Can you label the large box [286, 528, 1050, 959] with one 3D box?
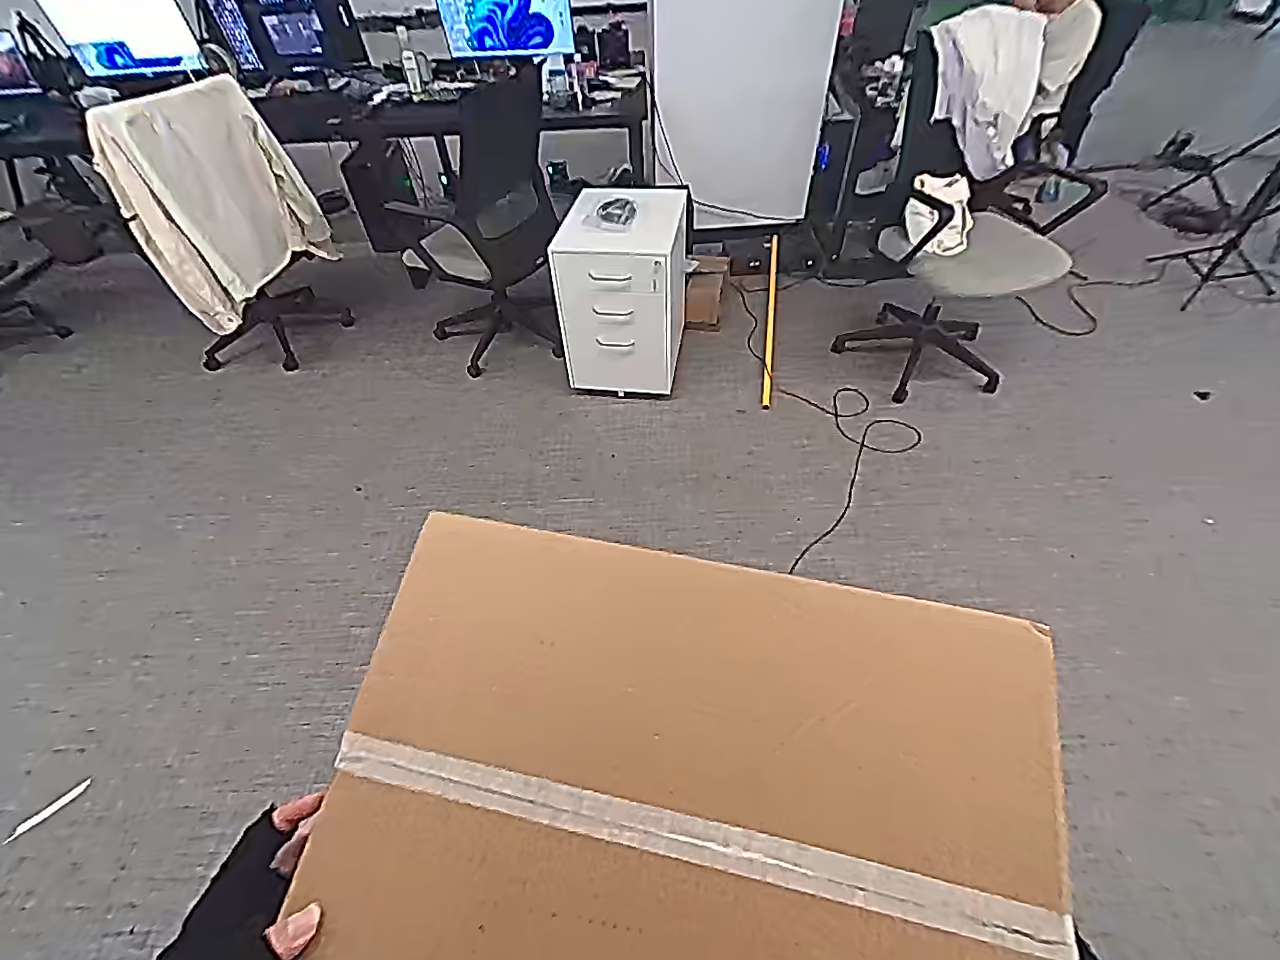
[{"bbox_3d":[0.029,0.260,0.447,0.408,0.320,0.320,10,69,9],"label":"large box"}]
